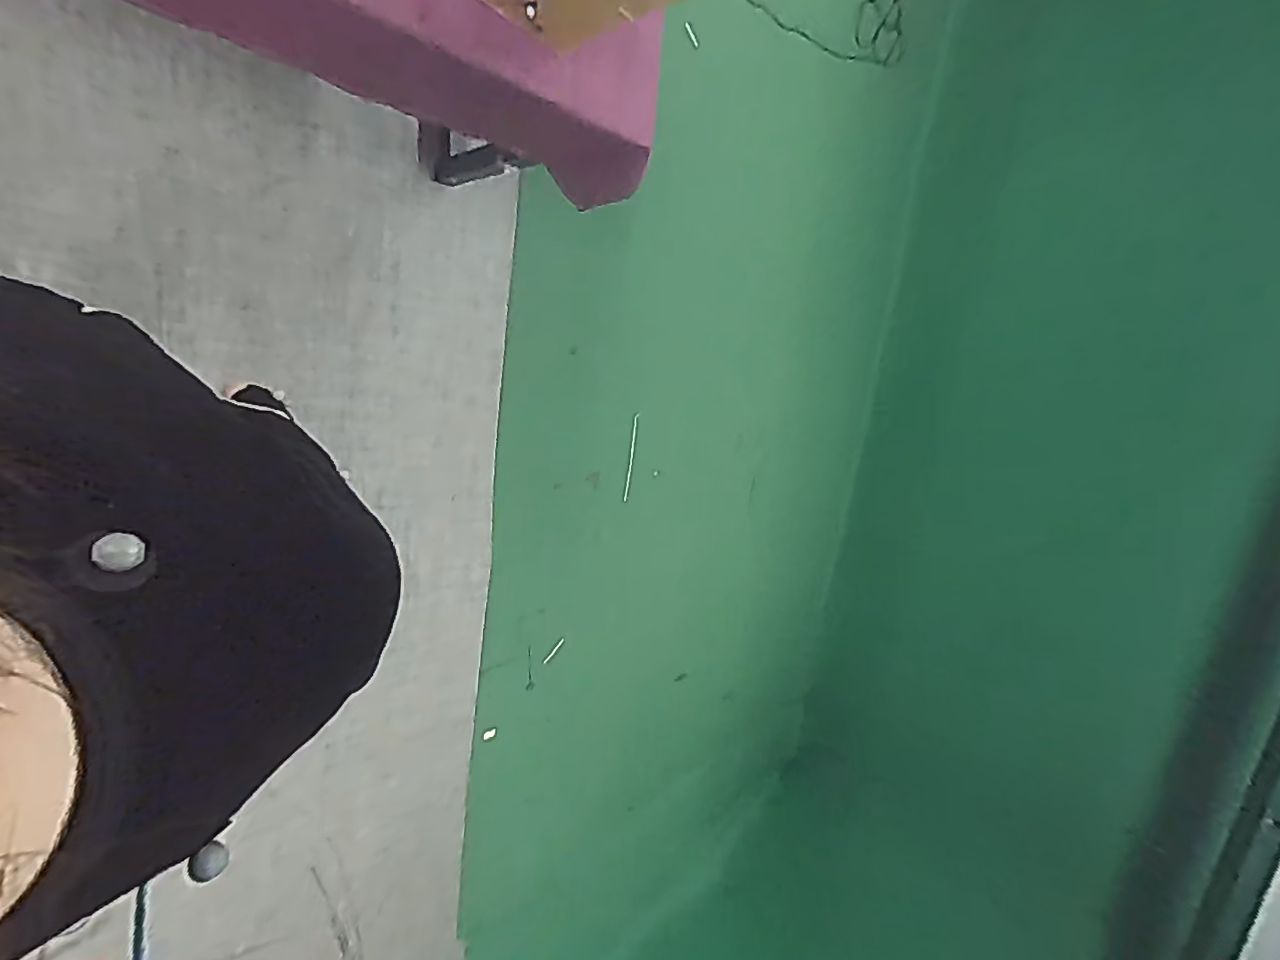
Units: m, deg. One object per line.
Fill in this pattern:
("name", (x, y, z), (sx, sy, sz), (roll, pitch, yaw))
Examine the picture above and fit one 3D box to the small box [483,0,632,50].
("small box", (-0.113, -0.732, 0.721), (0.168, 0.176, 0.179), (-2, 105, -48))
